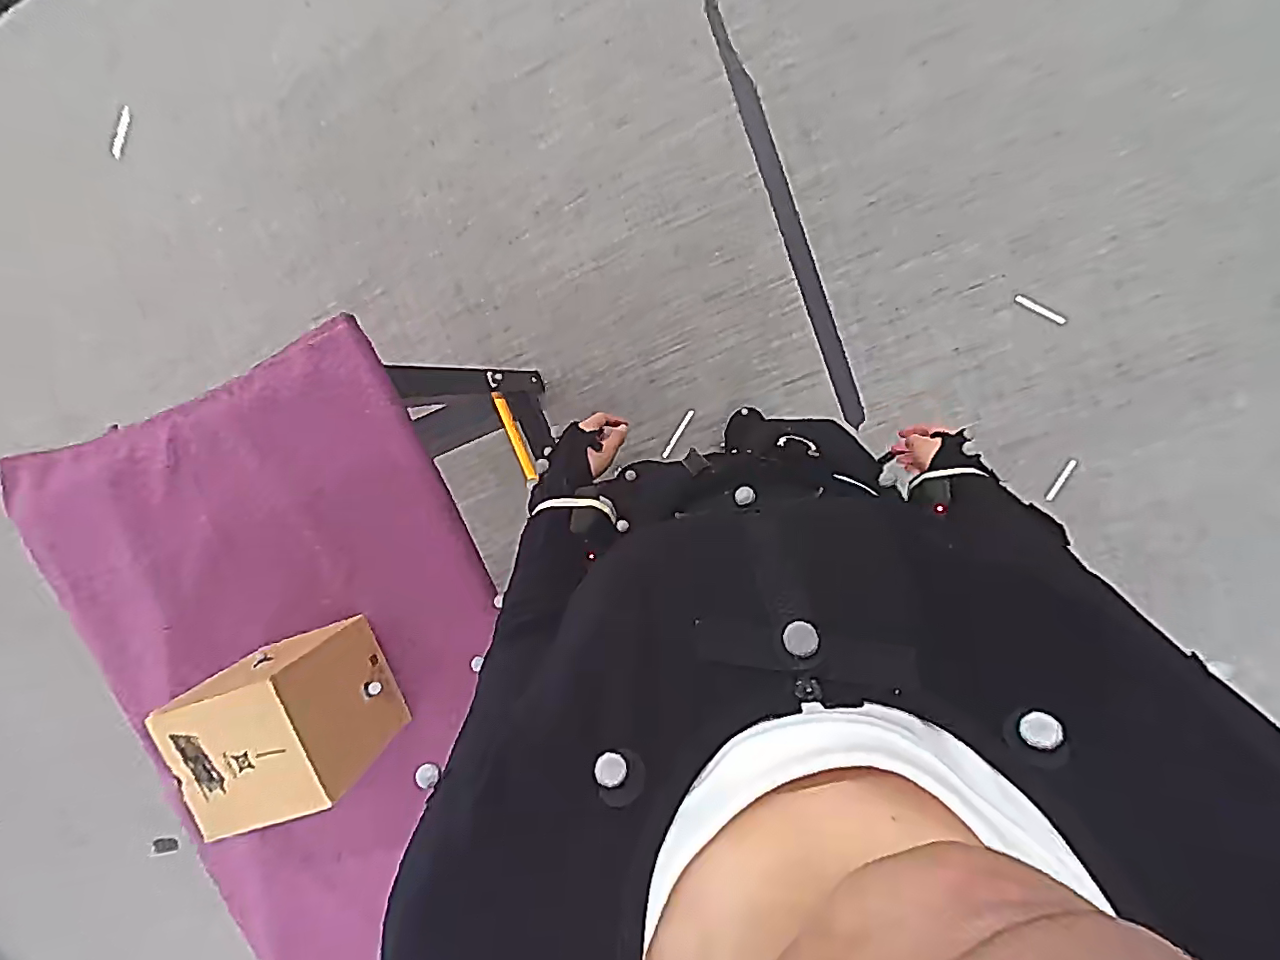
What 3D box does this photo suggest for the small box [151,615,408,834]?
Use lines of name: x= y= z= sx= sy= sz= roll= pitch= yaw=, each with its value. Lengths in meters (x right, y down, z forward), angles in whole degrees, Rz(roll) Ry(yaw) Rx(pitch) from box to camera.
small box: x=-0.435 y=0.295 z=0.680 sx=0.179 sy=0.176 sz=0.168 roll=-19 pitch=97 yaw=10
